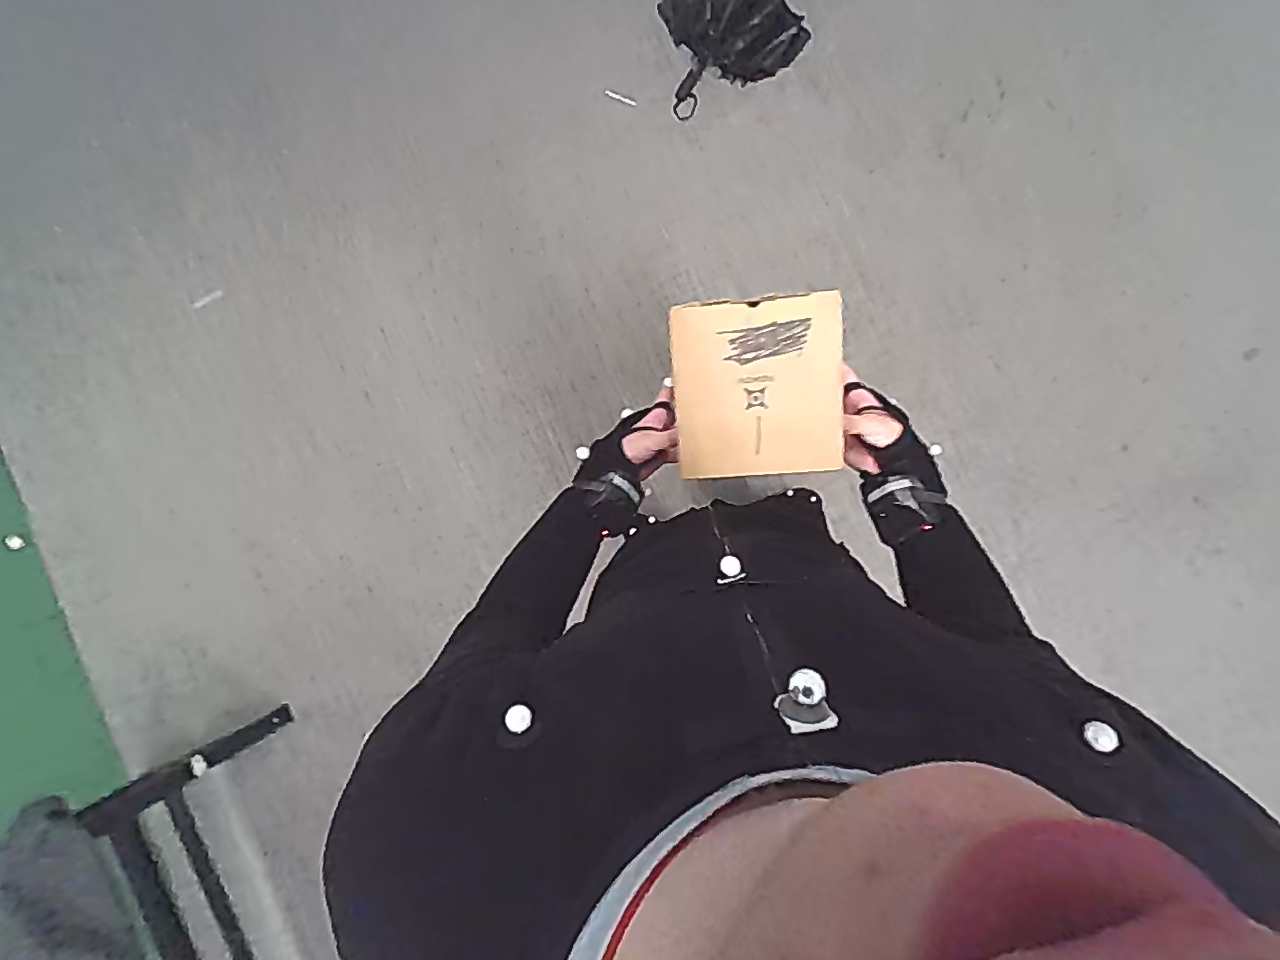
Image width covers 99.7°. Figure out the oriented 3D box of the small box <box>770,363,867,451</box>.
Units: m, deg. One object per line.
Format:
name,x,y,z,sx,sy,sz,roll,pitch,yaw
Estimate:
small box,0.470,-0.189,1.452,0.179,0.176,0.168,-28,88,6
